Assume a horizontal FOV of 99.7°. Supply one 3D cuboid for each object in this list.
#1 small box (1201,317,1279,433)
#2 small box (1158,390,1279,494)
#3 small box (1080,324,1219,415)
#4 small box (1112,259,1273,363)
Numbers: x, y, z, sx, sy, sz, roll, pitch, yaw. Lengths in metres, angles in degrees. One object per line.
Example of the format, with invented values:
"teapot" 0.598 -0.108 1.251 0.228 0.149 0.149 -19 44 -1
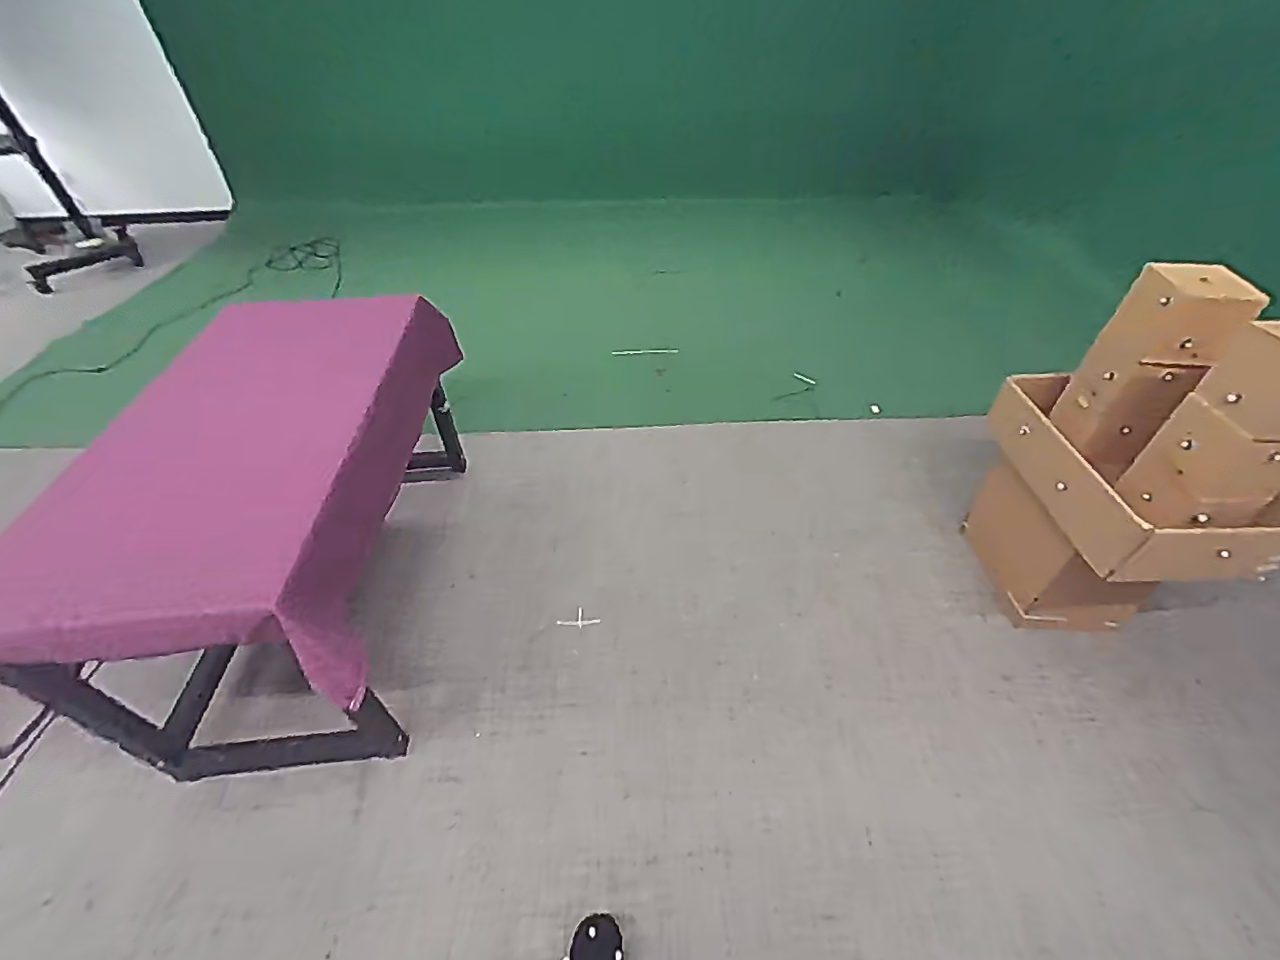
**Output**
"small box" 1.279 -0.200 1.048 0.168 0.176 0.179 0 44 2
"small box" 1.282 -0.081 1.162 0.179 0.176 0.168 -1 43 1
"small box" 1.278 -0.281 1.379 0.179 0.176 0.168 3 45 4
"small box" 1.269 -0.395 1.263 0.168 0.176 0.179 5 46 7
